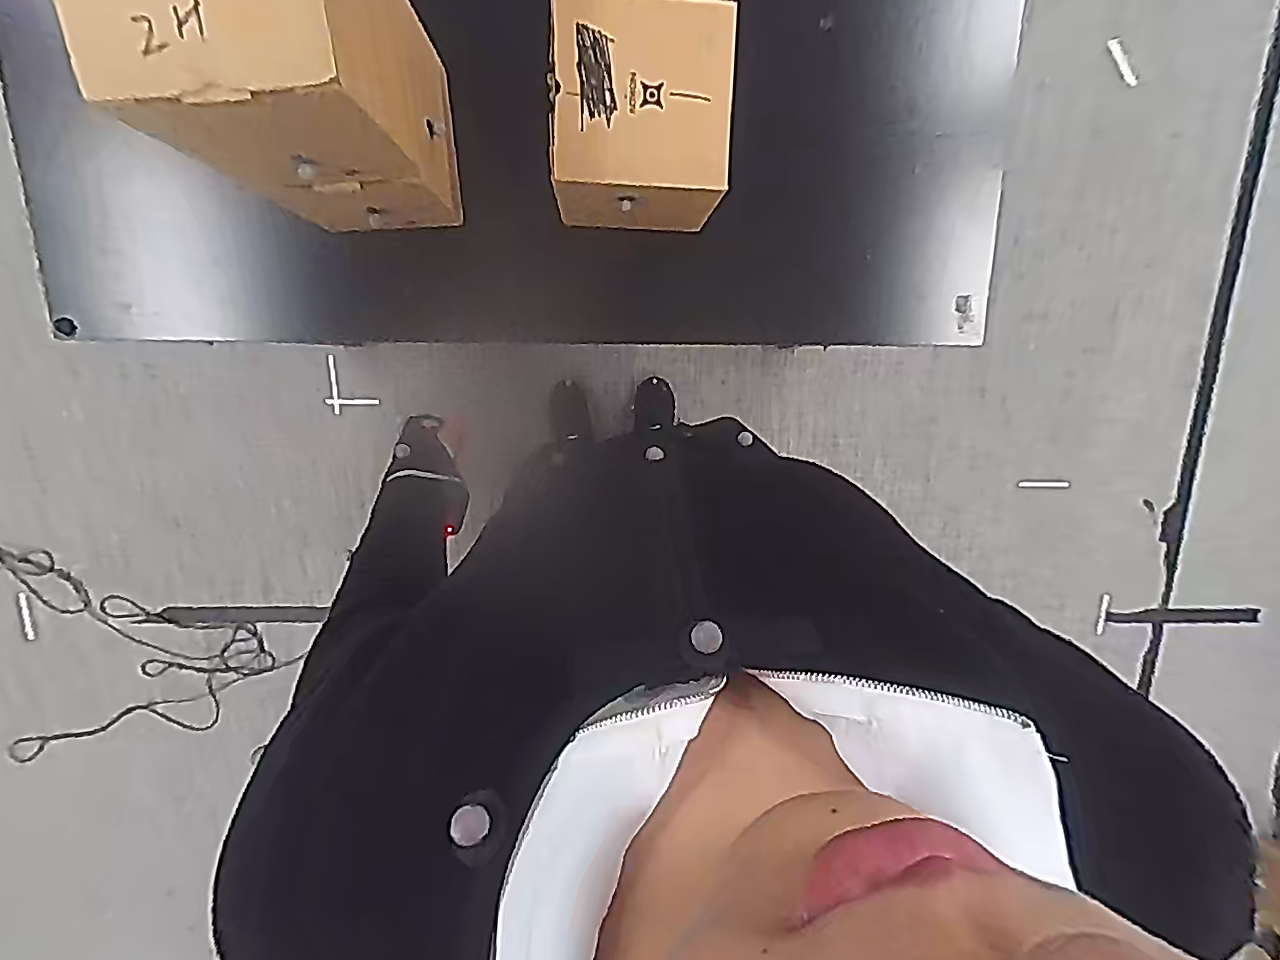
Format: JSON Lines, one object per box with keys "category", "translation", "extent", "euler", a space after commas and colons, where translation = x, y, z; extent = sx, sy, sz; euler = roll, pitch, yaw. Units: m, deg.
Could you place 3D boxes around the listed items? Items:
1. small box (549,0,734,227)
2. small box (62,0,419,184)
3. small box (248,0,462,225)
{"category": "small box", "translation": [-0.005, -0.391, 0.600], "extent": [0.179, 0.176, 0.168], "euler": [1, 101, -5]}
{"category": "small box", "translation": [-0.292, -0.357, 0.421], "extent": [0.168, 0.176, 0.179], "euler": [-6, 102, -2]}
{"category": "small box", "translation": [-0.303, -0.386, 0.584], "extent": [0.168, 0.176, 0.179], "euler": [-5, 102, -2]}
